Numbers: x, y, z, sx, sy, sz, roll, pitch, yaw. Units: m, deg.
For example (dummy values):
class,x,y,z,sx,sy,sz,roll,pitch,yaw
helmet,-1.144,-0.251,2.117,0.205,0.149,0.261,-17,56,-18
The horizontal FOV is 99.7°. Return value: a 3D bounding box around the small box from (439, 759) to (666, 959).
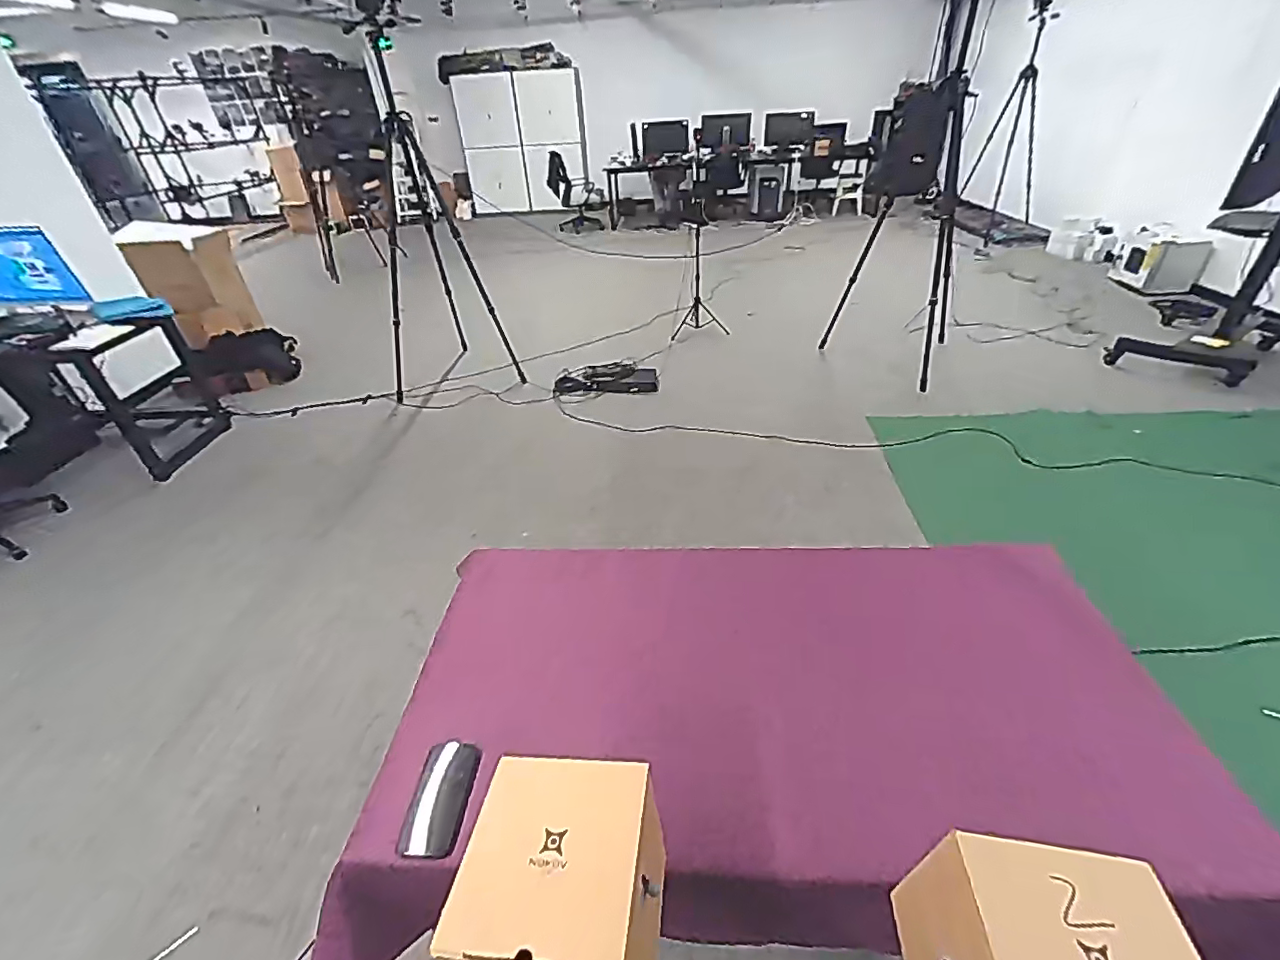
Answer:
class,x,y,z,sx,sy,sz,roll,pitch,yaw
small box,-0.067,0.413,0.536,0.168,0.176,0.179,-2,29,10
